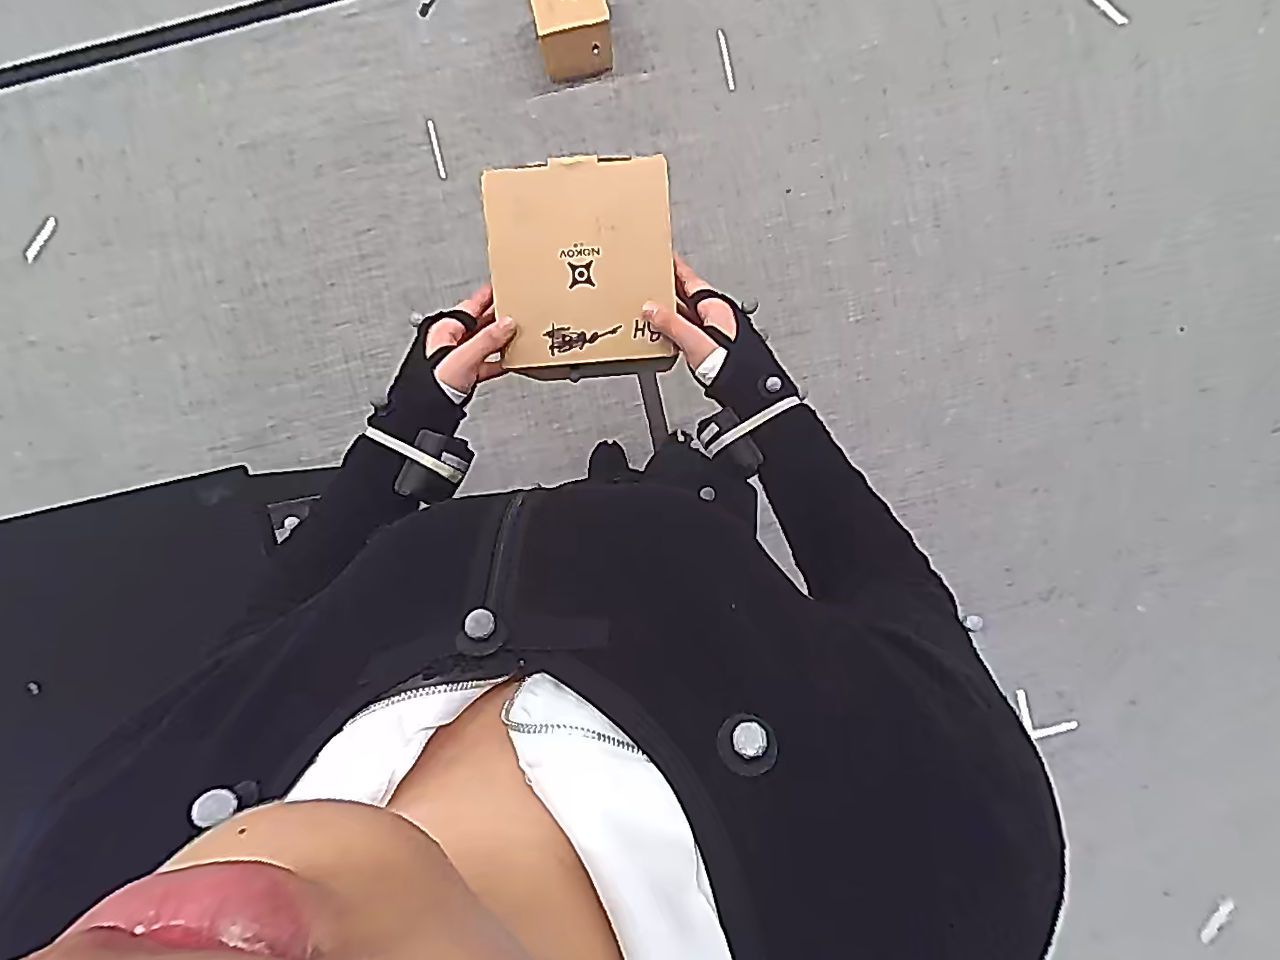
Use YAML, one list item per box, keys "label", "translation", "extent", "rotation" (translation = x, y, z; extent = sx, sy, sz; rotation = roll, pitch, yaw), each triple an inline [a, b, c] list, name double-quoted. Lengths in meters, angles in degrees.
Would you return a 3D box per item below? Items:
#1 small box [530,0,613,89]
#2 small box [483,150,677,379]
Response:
- label: "small box"
  translation: [-0.168, -1.127, 1.349]
  extent: [0.179, 0.176, 0.168]
  rotation: [-14, 93, 1]
- label: "small box"
  translation: [-0.051, -0.206, 0.562]
  extent: [0.168, 0.176, 0.179]
  rotation: [-4, 95, 2]
